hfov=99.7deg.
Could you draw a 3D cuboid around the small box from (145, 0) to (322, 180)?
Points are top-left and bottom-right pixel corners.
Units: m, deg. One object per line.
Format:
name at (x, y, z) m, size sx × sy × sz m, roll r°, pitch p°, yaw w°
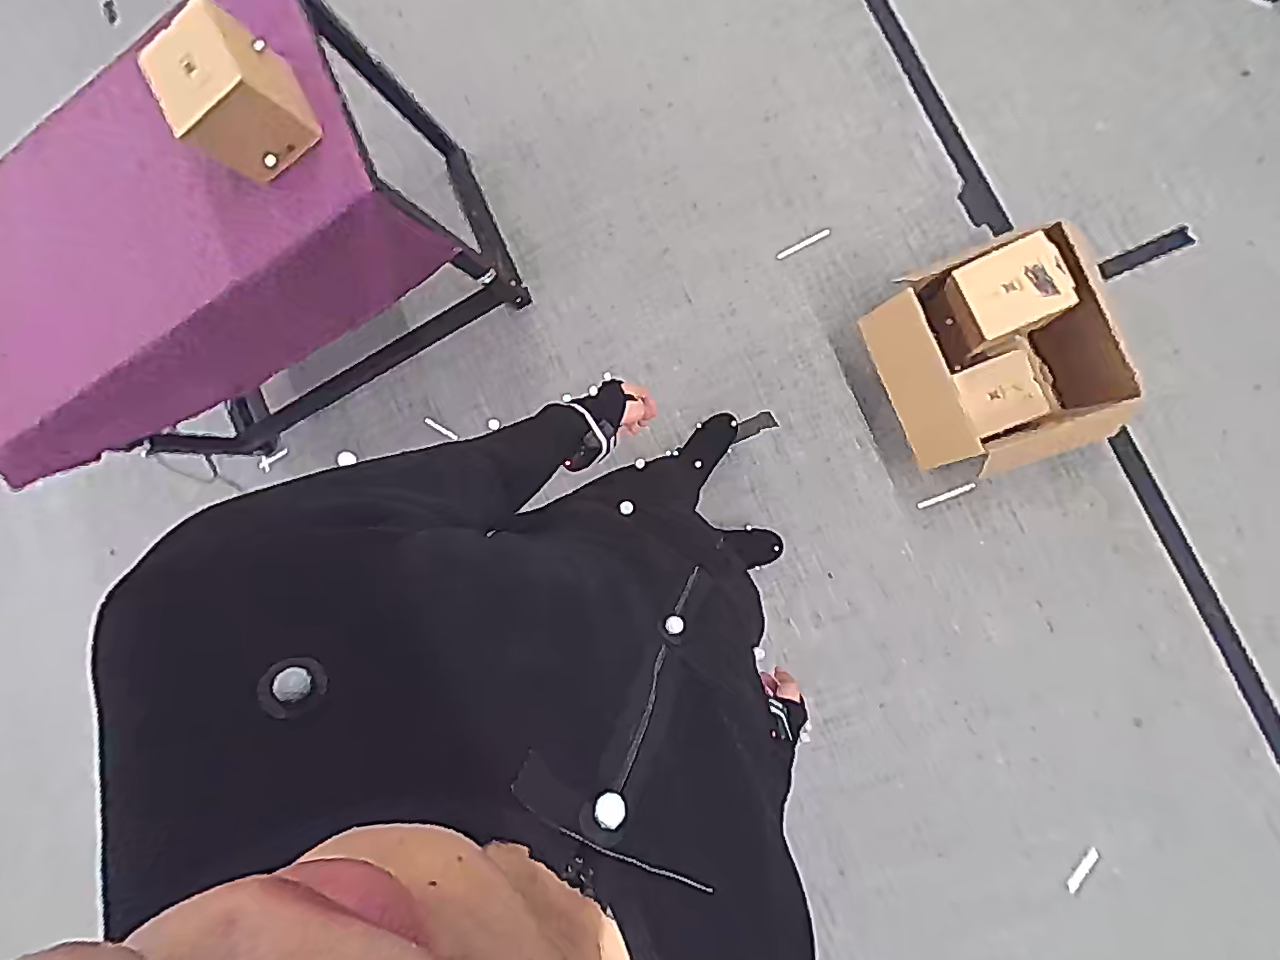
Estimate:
small box at (-0.733, -0.700, 0.988) m, size 0.168 × 0.176 × 0.179 m, roll -29°, pitch 84°, yaw 14°
